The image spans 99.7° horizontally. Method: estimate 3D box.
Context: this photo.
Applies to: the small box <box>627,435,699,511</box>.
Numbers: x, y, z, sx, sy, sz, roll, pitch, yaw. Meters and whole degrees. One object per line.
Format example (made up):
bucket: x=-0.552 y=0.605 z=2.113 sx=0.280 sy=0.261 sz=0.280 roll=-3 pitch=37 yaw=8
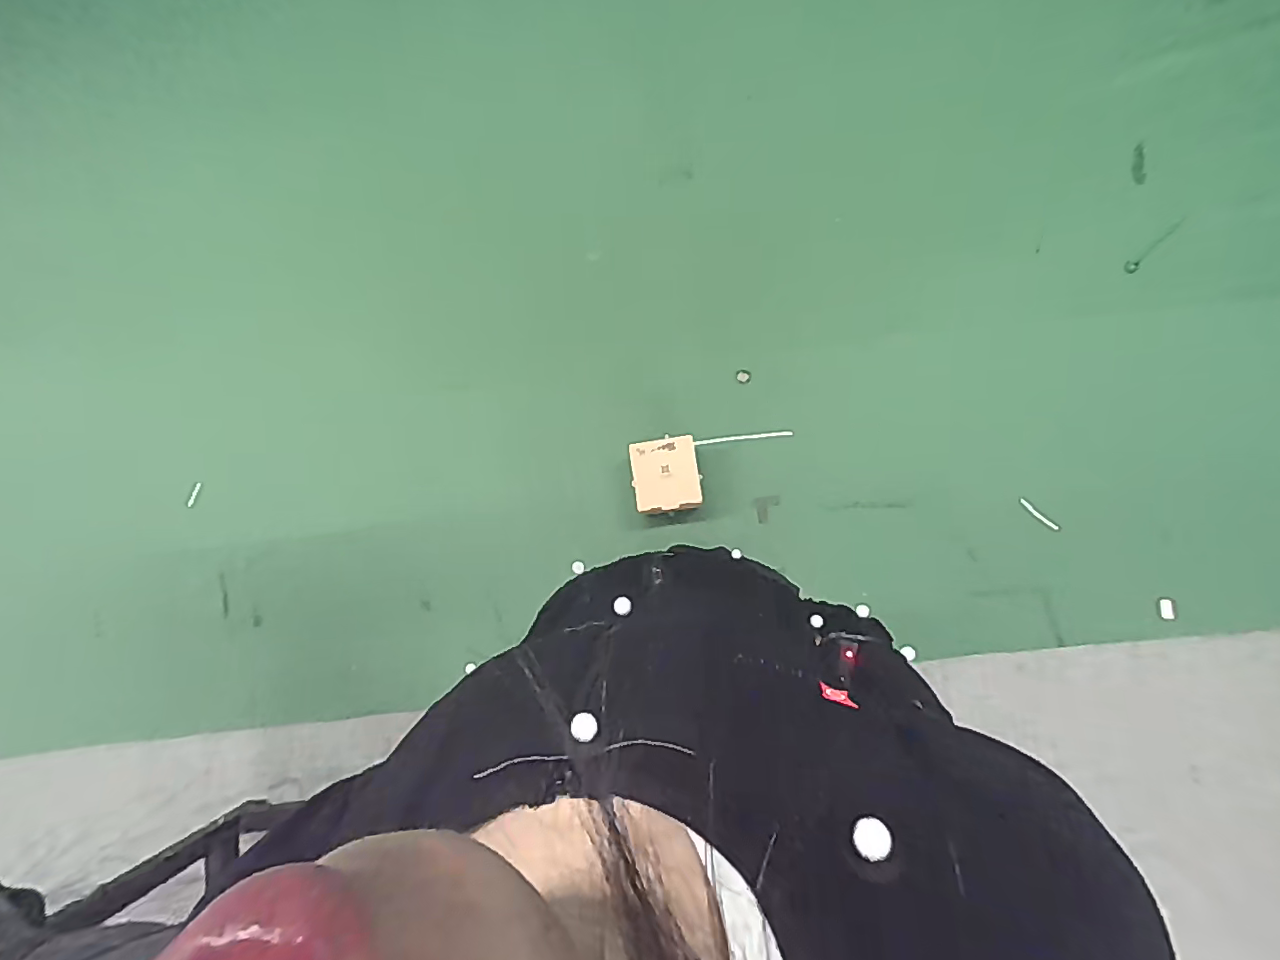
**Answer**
small box: x=0.065 y=-0.012 z=1.435 sx=0.168 sy=0.176 sz=0.179 roll=-8 pitch=84 yaw=4
